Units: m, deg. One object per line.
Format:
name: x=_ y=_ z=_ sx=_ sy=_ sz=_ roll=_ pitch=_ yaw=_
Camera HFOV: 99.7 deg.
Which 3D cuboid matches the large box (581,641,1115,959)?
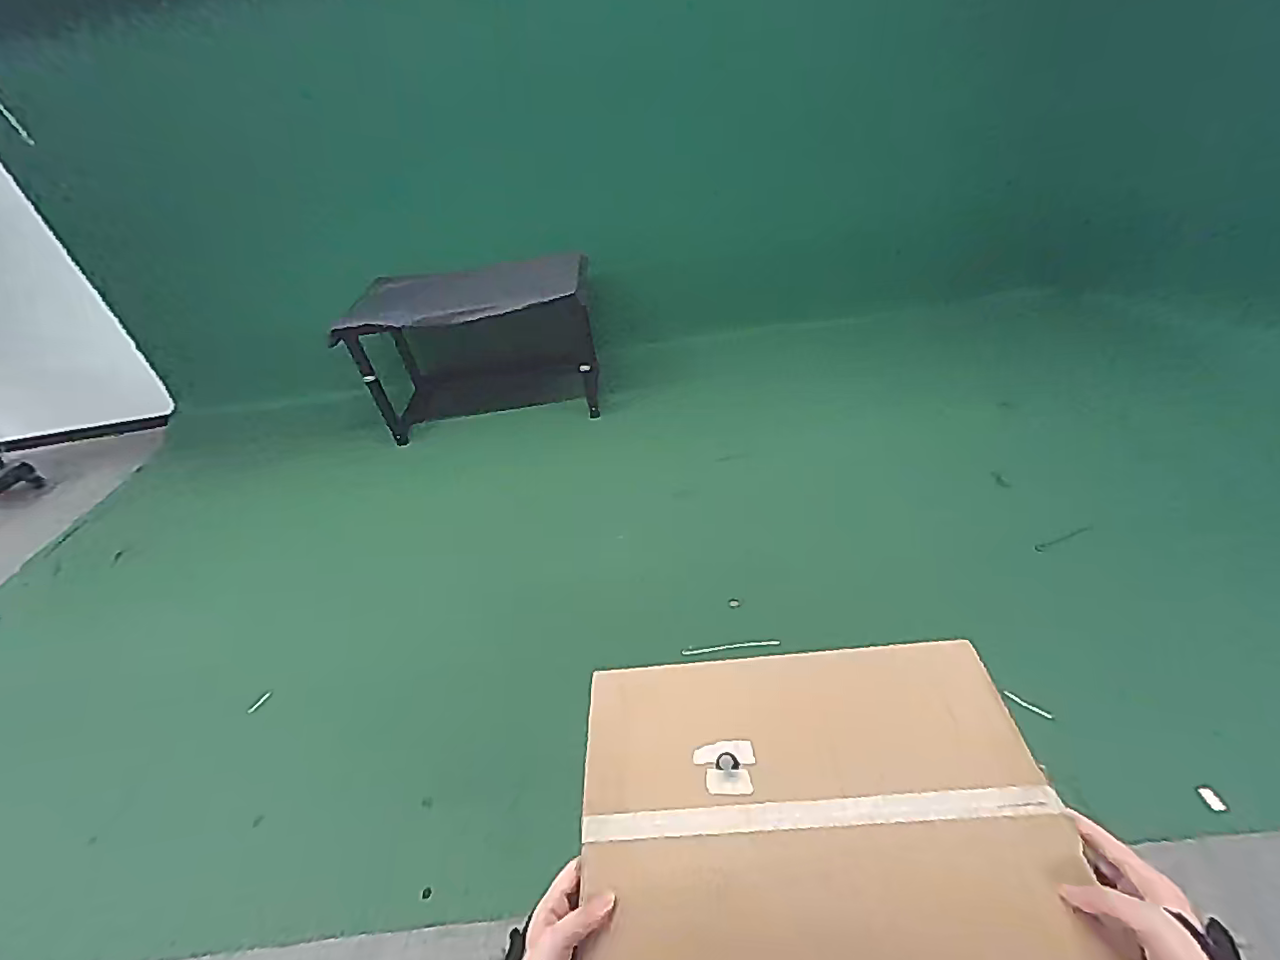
large box: x=0.173 y=0.410 z=0.583 sx=0.408 sy=0.320 sz=0.320 roll=-9 pitch=41 yaw=7
